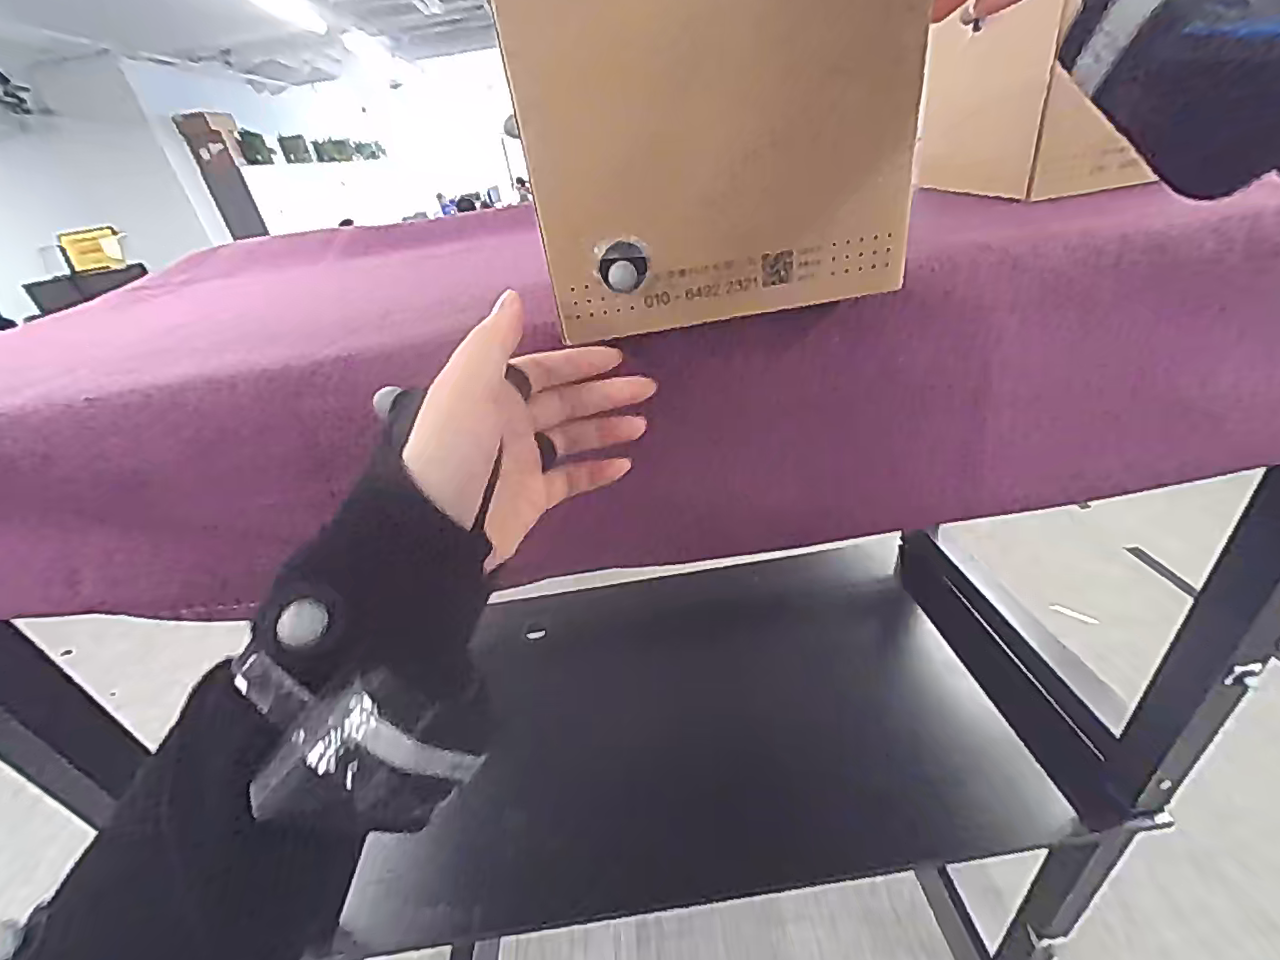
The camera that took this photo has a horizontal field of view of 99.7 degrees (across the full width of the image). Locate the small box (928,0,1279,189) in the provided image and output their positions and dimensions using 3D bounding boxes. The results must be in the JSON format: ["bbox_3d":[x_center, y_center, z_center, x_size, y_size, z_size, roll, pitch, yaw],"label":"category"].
[{"bbox_3d":[0.342,-0.325,0.406,0.168,0.176,0.179,-8,32,4],"label":"small box"}]

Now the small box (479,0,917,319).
[{"bbox_3d":[0.023,-0.189,0.276,0.168,0.176,0.179,-10,31,0],"label":"small box"}]
